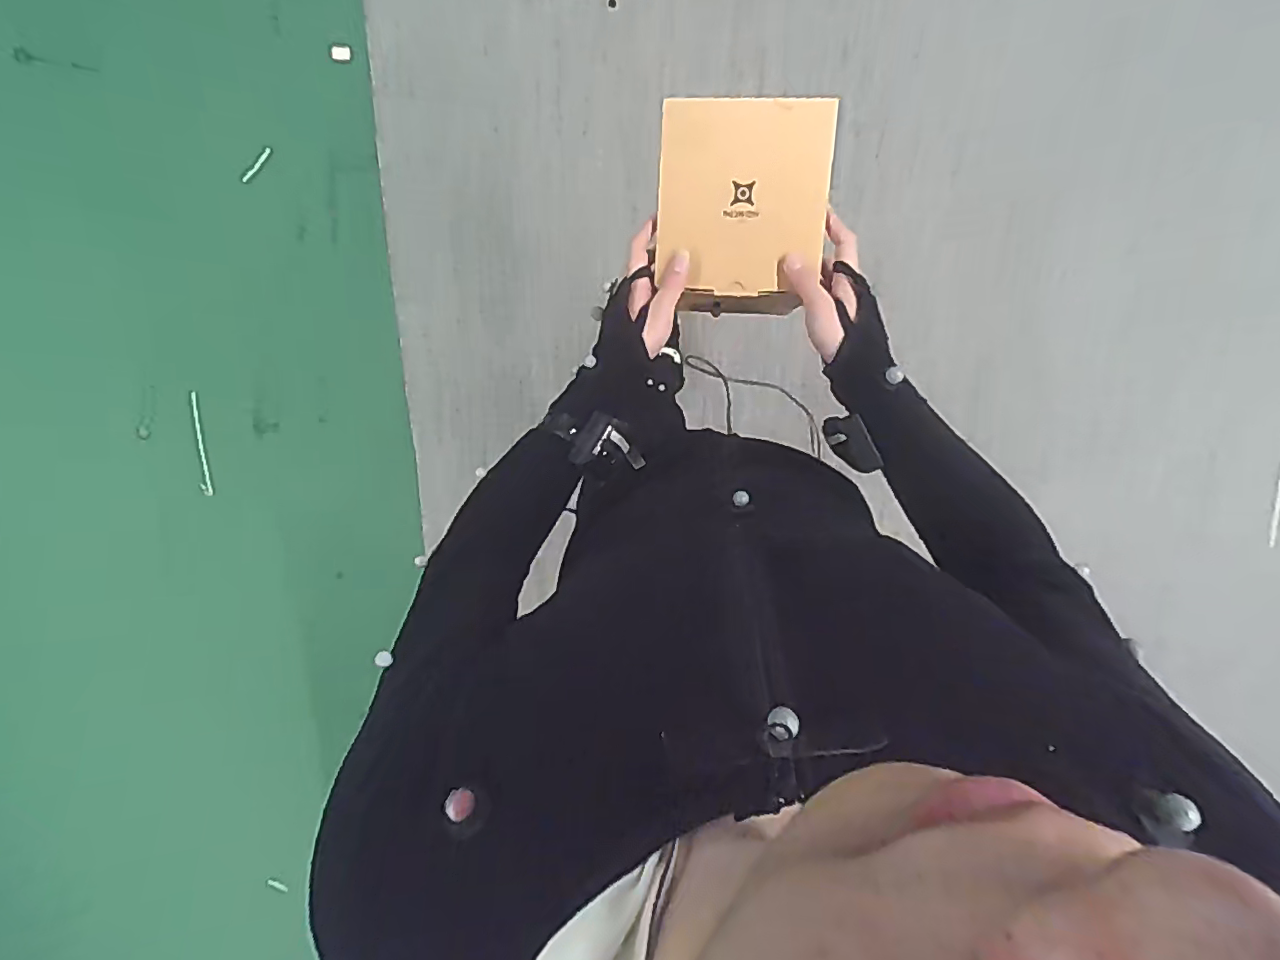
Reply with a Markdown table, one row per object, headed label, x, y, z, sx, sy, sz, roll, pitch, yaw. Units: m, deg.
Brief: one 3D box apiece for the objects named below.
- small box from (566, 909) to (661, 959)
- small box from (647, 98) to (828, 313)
| label | x | y | z | sx | sy | sz | roll | pitch | yaw |
| --- | --- | --- | --- | --- | --- | --- | --- | --- | --- |
| small box | -0.047 | 0.921 | 0.967 | 0.168 | 0.176 | 0.179 | -1 | 101 | 2 |
| small box | 0.099 | -0.290 | 0.606 | 0.168 | 0.176 | 0.179 | 4 | 102 | 5 |
